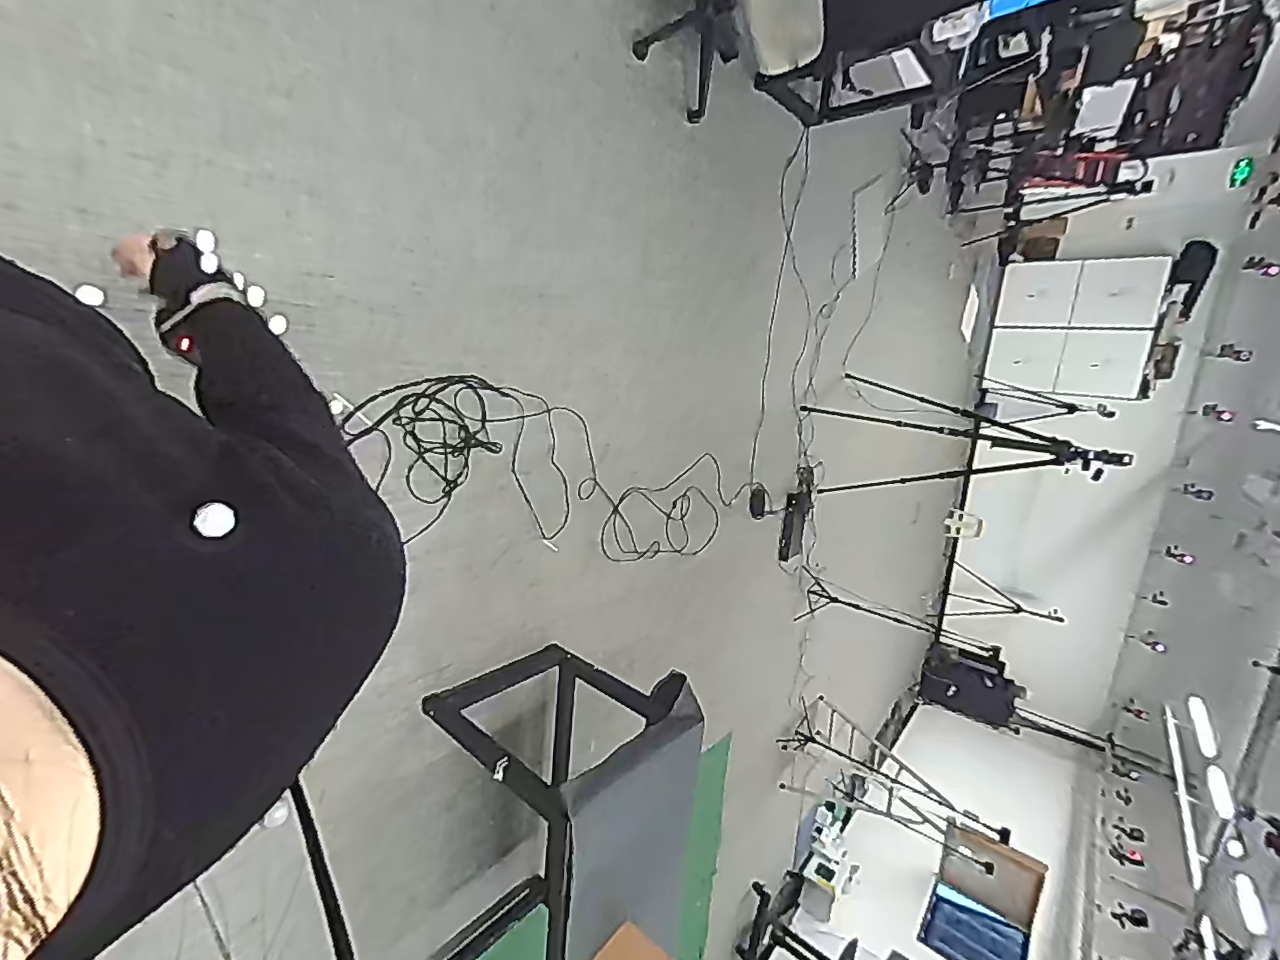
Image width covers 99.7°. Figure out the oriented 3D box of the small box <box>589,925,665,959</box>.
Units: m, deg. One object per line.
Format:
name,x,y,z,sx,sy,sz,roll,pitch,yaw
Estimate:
small box,-0.049,1.420,1.518,0.179,0.176,0.168,-14,111,-49
